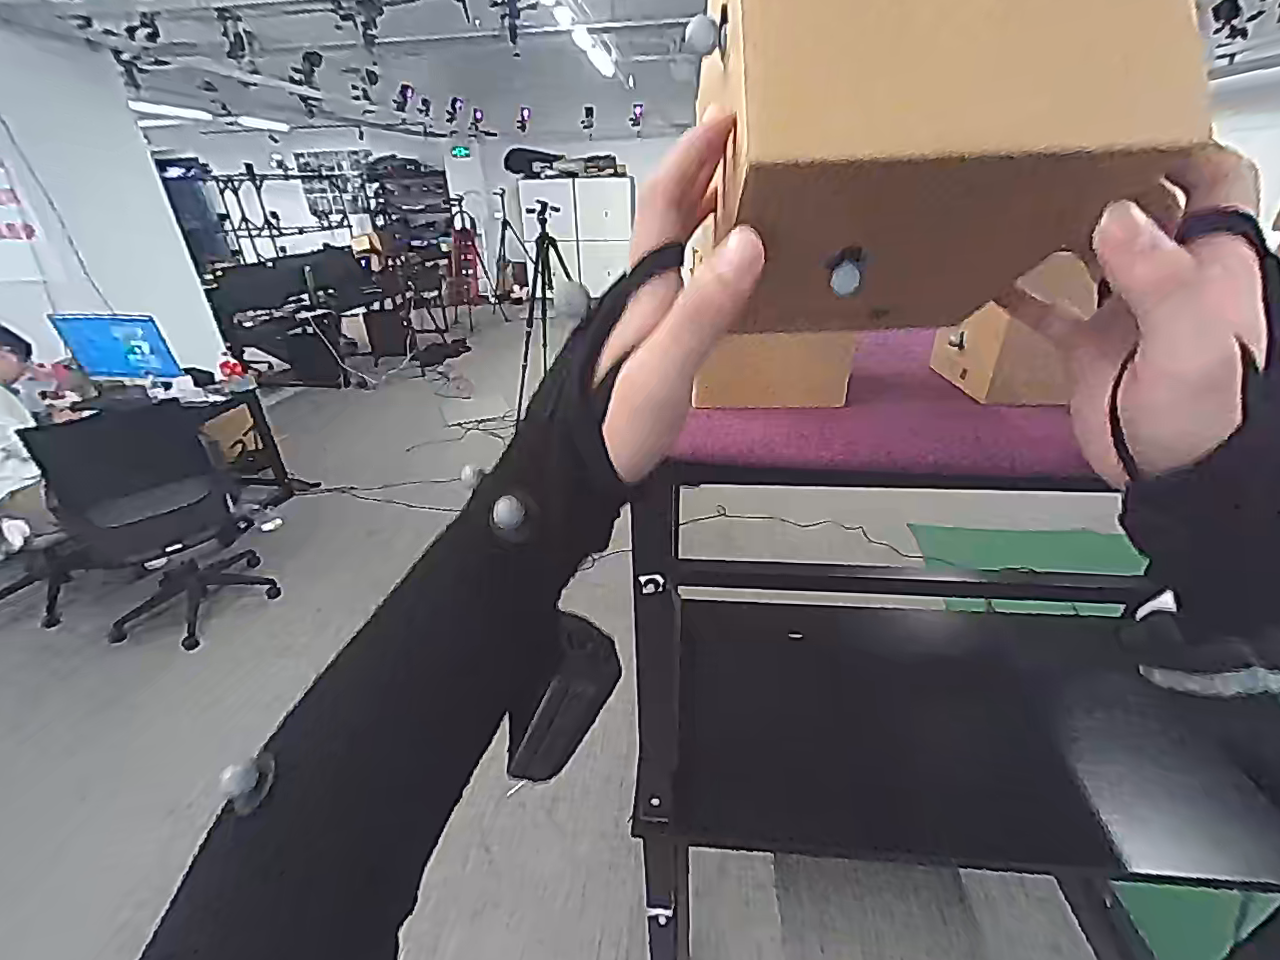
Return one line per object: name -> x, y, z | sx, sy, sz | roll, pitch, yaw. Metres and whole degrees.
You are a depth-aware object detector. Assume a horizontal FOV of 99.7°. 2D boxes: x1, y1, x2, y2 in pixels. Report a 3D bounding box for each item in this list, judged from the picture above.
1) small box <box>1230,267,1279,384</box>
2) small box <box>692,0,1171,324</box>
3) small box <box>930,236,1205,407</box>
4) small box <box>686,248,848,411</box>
small box -> 0.849, -0.184, 0.604 | 0.179, 0.176, 0.168 | 1, 26, 5
small box -> 0.115, -0.195, 0.292 | 0.168, 0.179, 0.176 | -2, -9, 3
small box -> 0.478, -0.190, 0.641 | 0.179, 0.176, 0.168 | 1, 27, 6
small box -> 0.147, -0.189, 0.662 | 0.179, 0.176, 0.168 | 0, 28, 2
